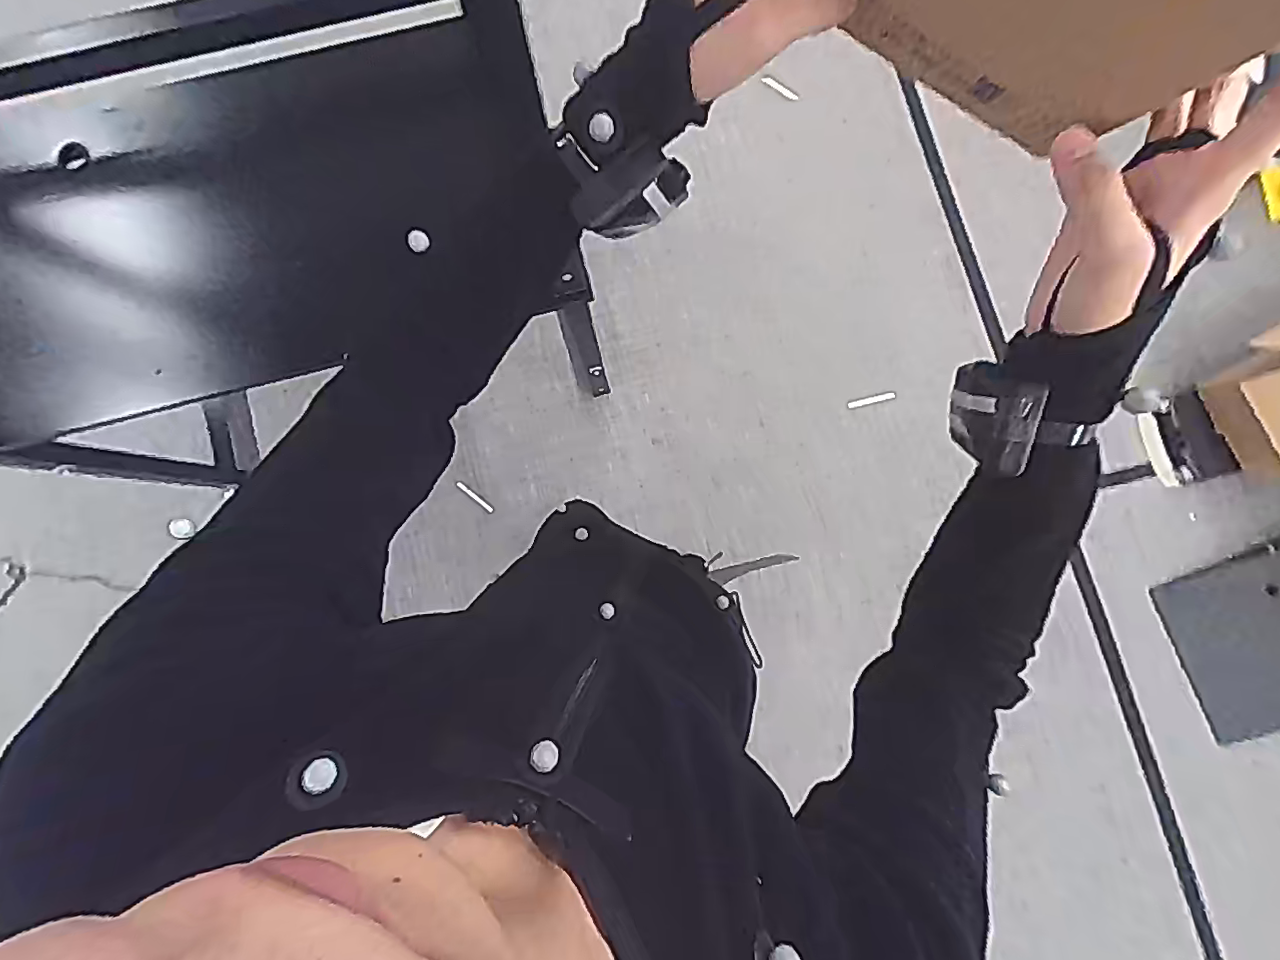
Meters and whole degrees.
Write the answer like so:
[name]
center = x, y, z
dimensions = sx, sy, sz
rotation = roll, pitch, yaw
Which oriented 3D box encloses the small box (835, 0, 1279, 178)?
[small box]
center = 0.210, -0.266, 0.212
dimensions = 0.168, 0.176, 0.179
rotation = 27, 97, -8
